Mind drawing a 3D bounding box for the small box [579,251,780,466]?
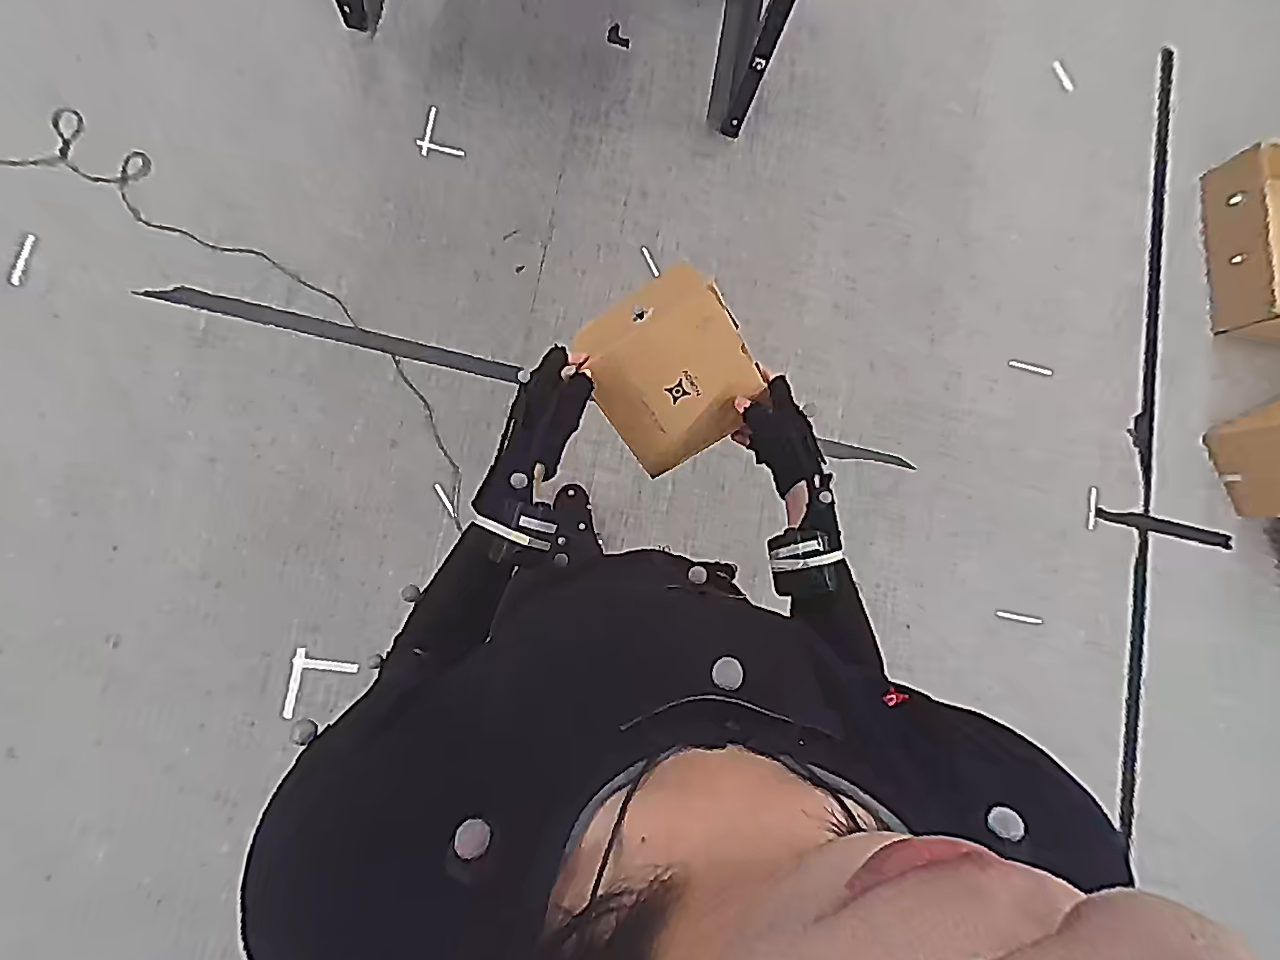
[{"bbox_3d":[0.038,-0.155,0.661,0.179,0.176,0.168,-31,118,12],"label":"small box"}]
